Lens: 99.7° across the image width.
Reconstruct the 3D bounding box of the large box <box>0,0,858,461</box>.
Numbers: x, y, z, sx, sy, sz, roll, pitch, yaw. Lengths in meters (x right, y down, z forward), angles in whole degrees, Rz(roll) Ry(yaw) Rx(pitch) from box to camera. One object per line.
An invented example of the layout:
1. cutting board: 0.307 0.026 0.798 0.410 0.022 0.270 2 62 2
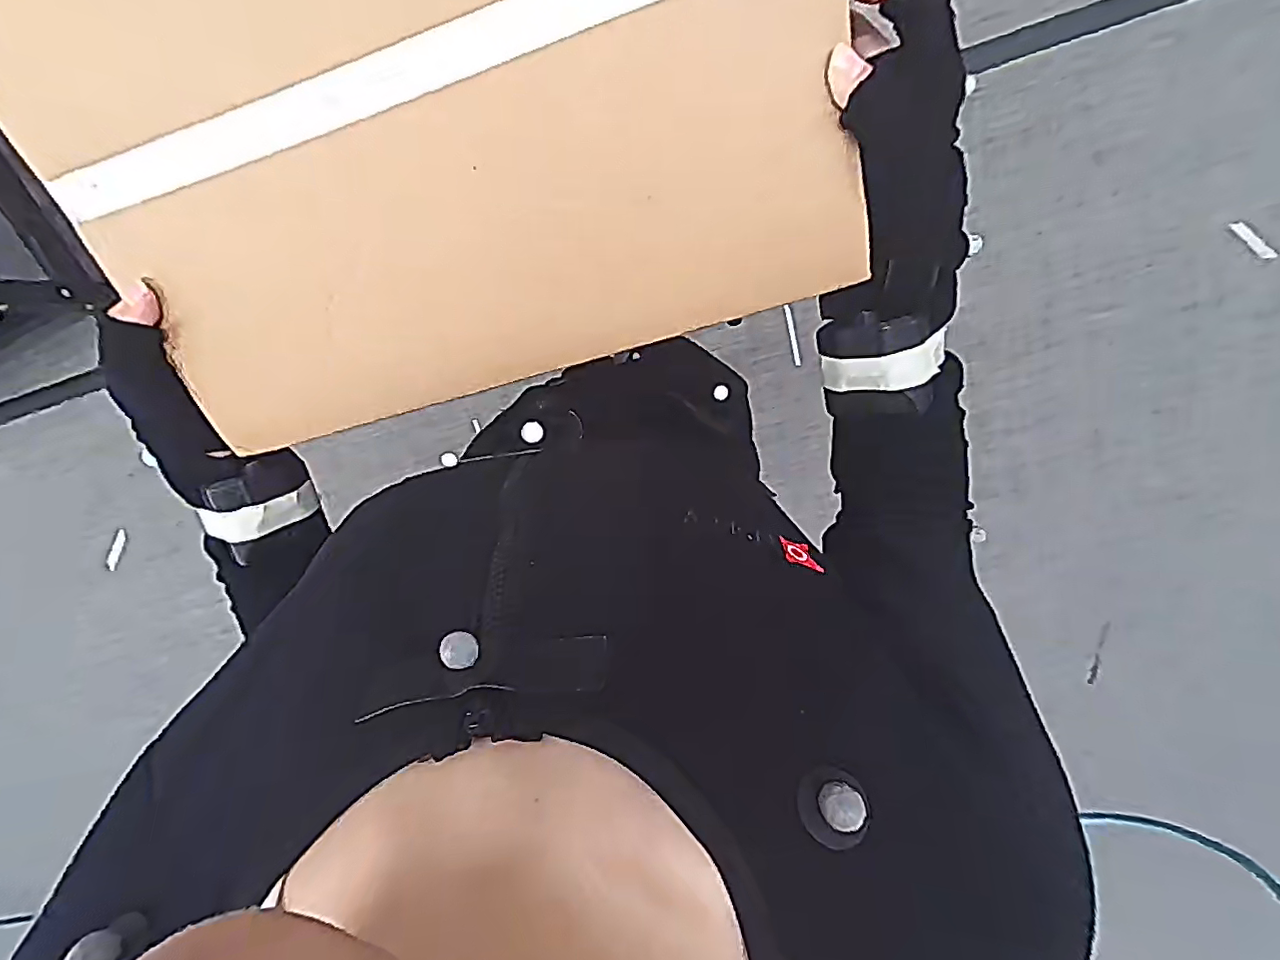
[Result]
1. large box: -0.103 -0.260 0.402 0.408 0.320 0.320 -14 116 9
